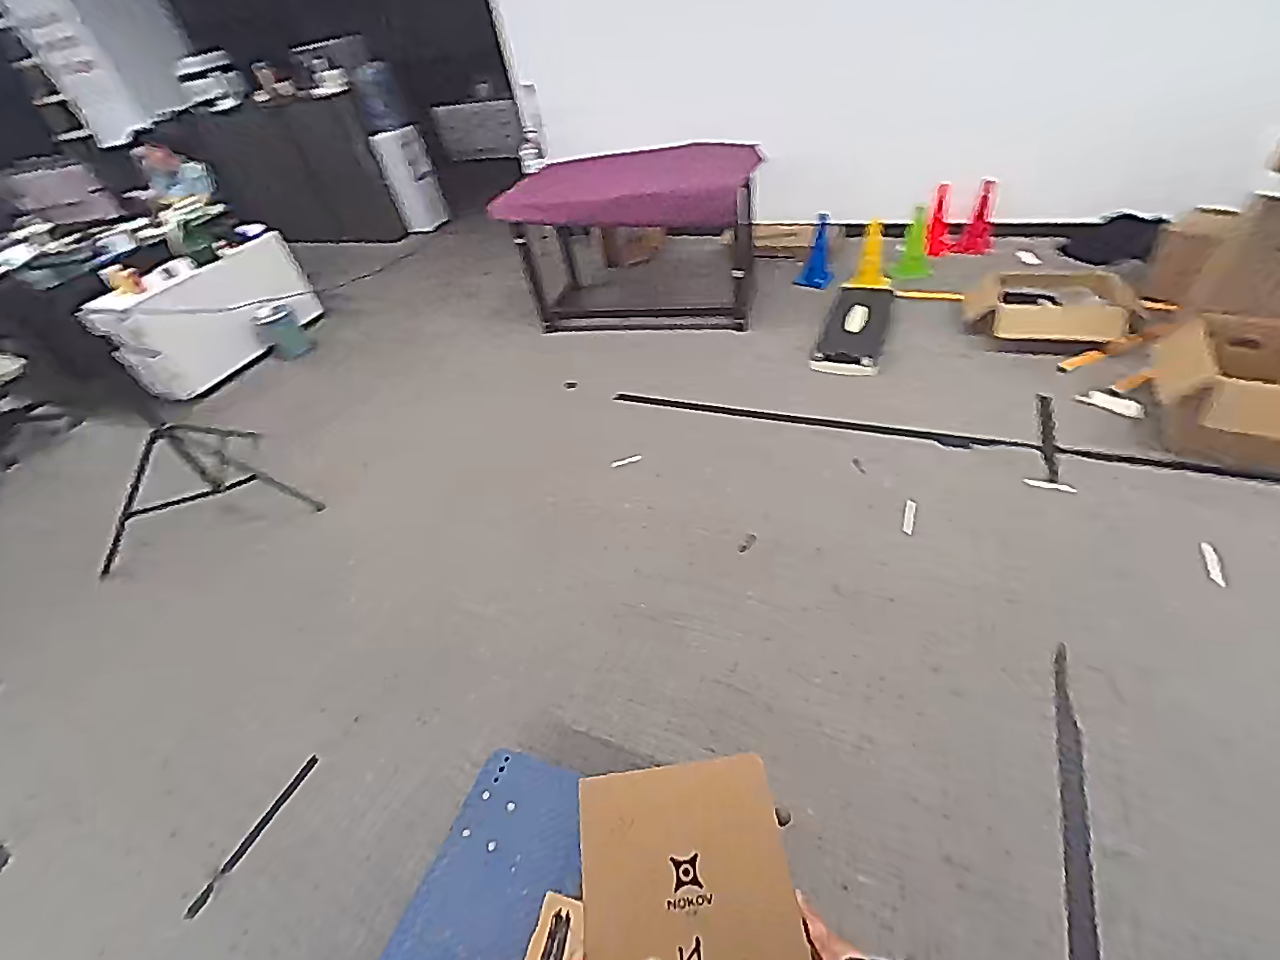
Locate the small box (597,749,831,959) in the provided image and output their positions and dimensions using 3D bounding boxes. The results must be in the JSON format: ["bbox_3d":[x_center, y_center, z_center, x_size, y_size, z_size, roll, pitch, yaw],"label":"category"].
[{"bbox_3d":[0.056,0.362,0.476,0.168,0.176,0.179,-8,49,0],"label":"small box"}]
